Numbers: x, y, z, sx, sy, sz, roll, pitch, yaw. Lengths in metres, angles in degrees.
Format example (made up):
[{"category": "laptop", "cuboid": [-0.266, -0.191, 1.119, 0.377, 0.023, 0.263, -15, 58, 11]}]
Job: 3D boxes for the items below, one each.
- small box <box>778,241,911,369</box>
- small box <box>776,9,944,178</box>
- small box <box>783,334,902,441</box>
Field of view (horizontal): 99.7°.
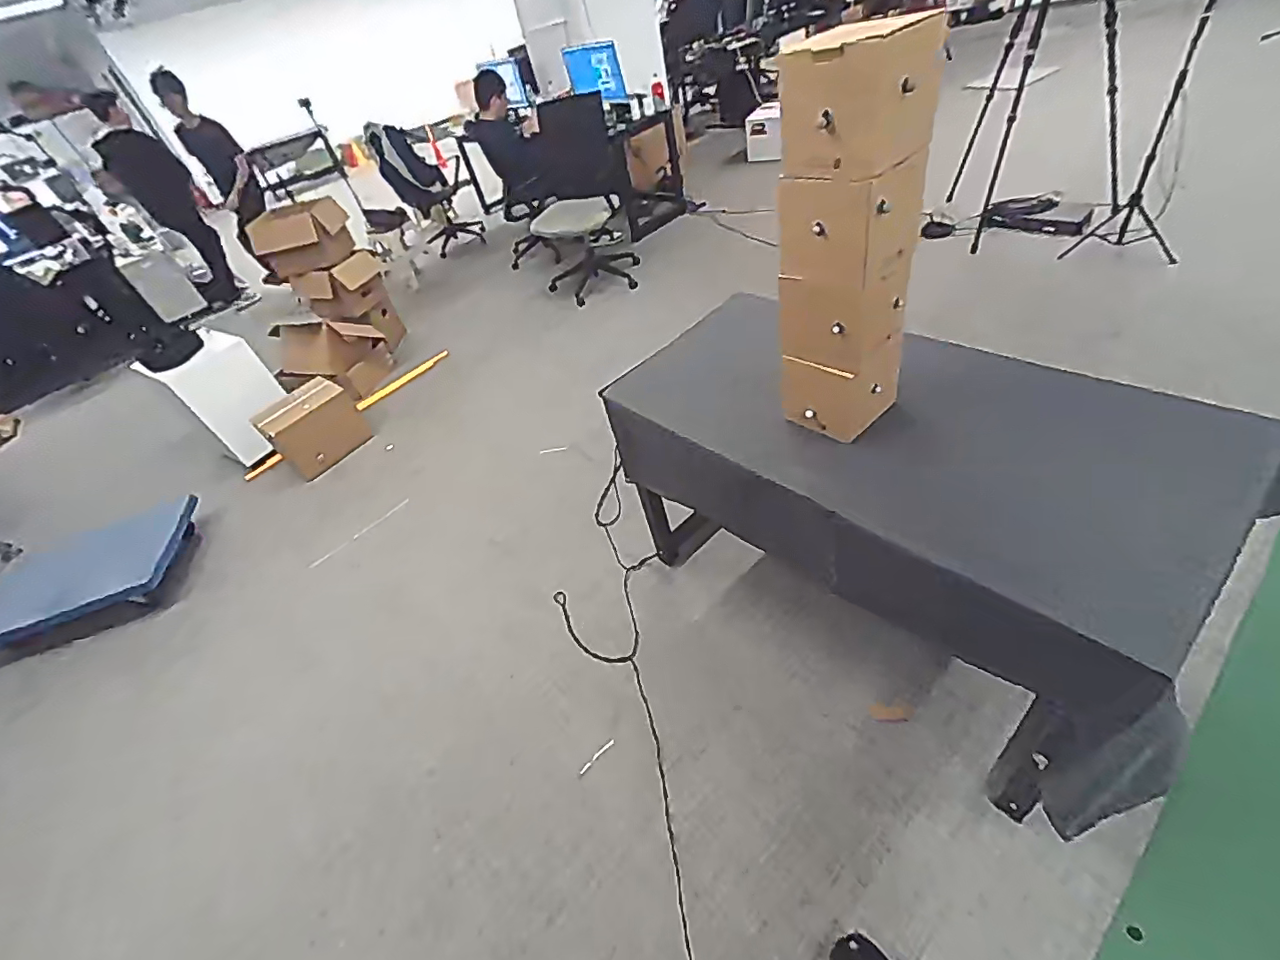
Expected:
[{"category": "small box", "cuboid": [0.386, -0.333, 1.036, 0.168, 0.176, 0.179, -39, 46, -24]}, {"category": "small box", "cuboid": [0.333, -0.581, 0.829, 0.179, 0.176, 0.168, -38, 46, -23]}, {"category": "small box", "cuboid": [0.421, -0.214, 1.141, 0.179, 0.176, 0.168, -38, 46, -21]}]
